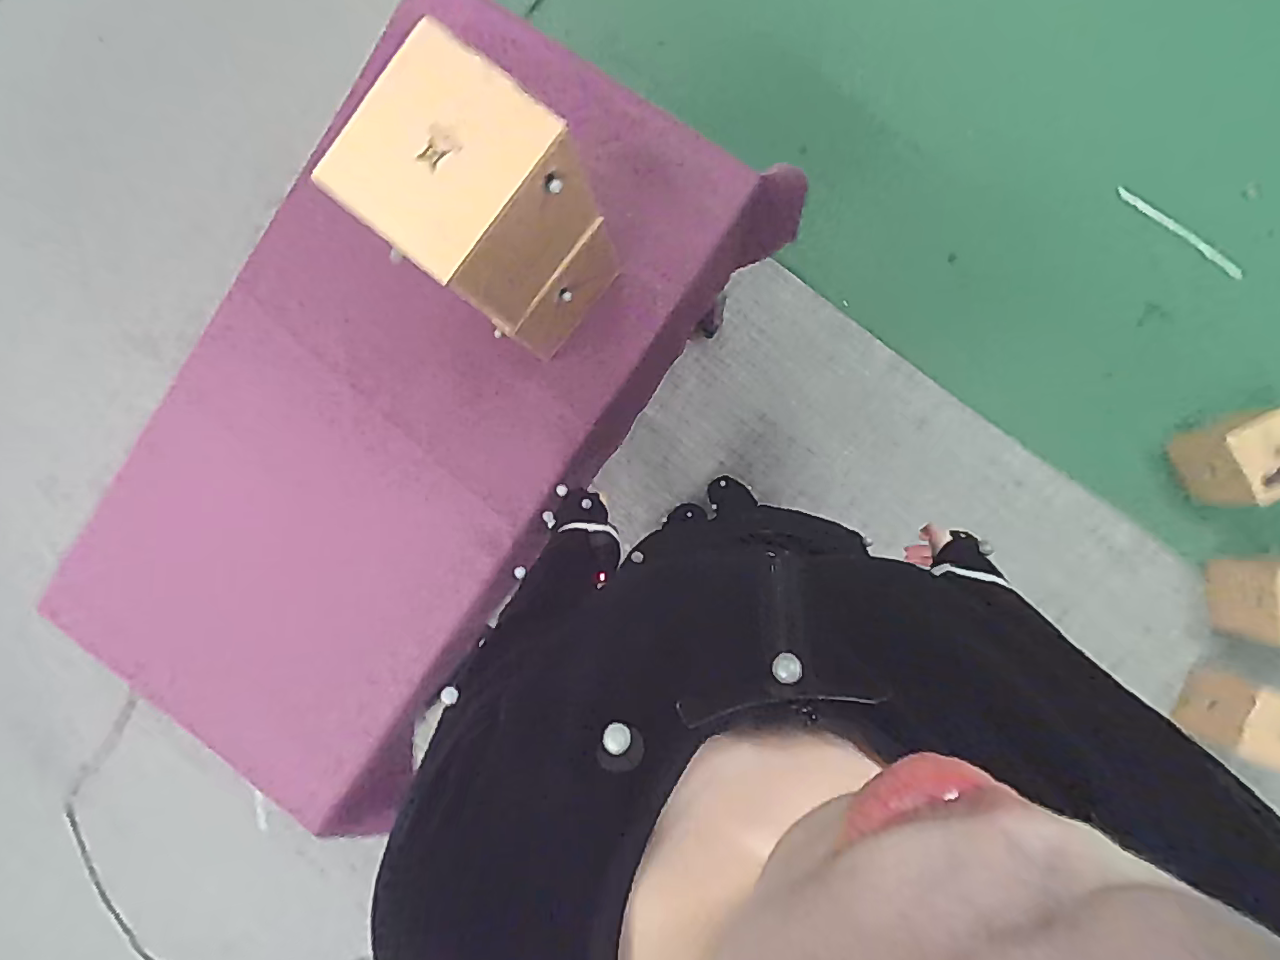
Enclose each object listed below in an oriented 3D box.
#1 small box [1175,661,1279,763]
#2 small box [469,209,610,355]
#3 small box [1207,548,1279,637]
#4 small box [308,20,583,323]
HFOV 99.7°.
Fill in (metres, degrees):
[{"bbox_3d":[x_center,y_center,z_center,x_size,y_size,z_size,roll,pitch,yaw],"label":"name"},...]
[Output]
[{"bbox_3d":[1.460,0.556,1.295,0.179,0.176,0.168,20,93,5],"label":"small box"},{"bbox_3d":[-0.158,-0.291,0.719,0.168,0.176,0.179,41,94,3],"label":"small box"},{"bbox_3d":[1.514,0.261,1.285,0.168,0.176,0.179,-7,91,5],"label":"small box"},{"bbox_3d":[-0.179,-0.292,0.558,0.168,0.176,0.179,39,94,4],"label":"small box"}]
